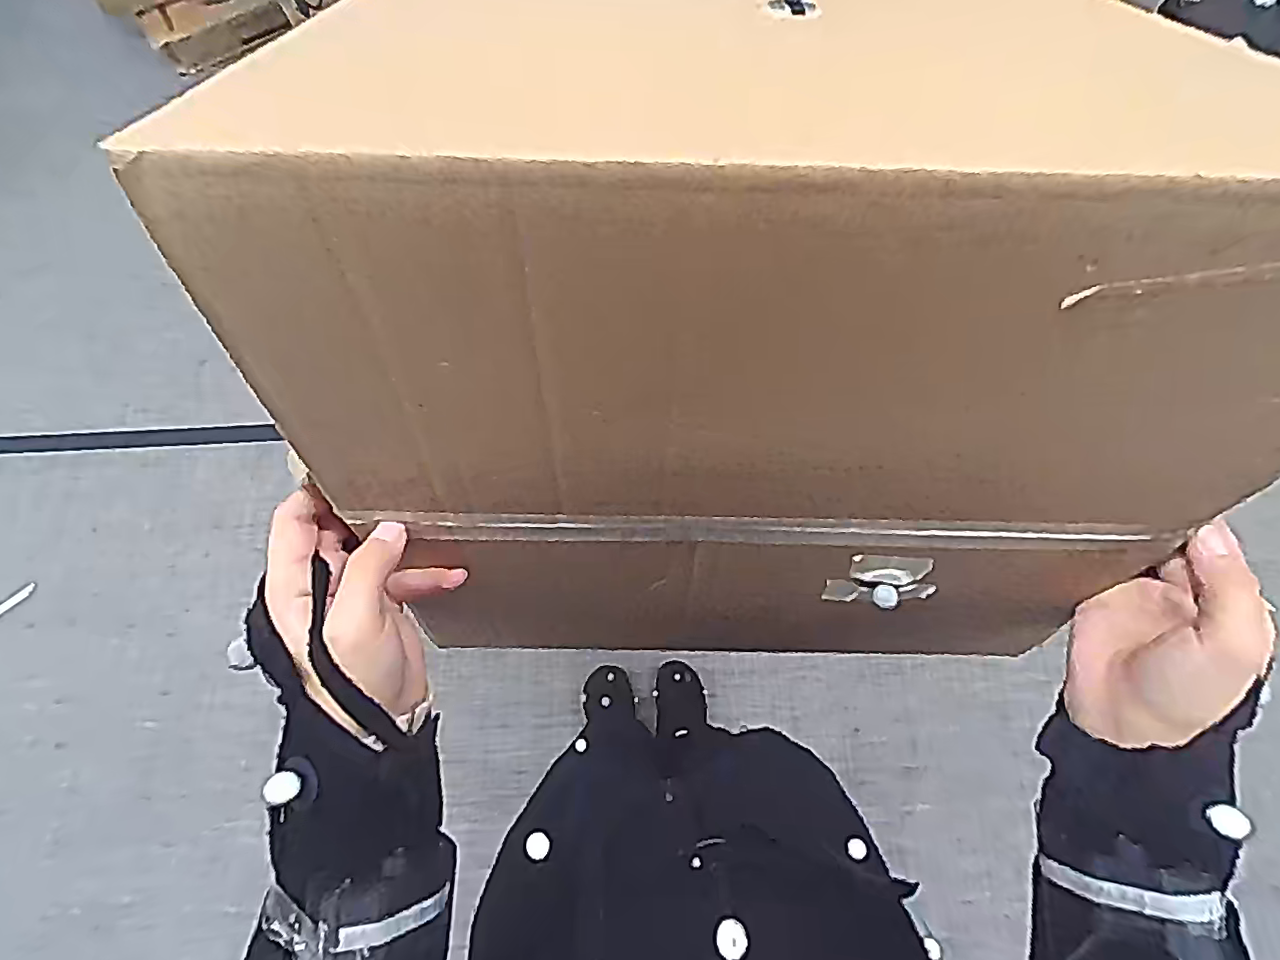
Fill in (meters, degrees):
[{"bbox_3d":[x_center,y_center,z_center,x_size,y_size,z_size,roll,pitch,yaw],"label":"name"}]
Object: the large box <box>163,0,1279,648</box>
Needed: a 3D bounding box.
[{"bbox_3d":[0.057,-0.095,0.360,0.408,0.320,0.320,0,52,-1],"label":"large box"}]
